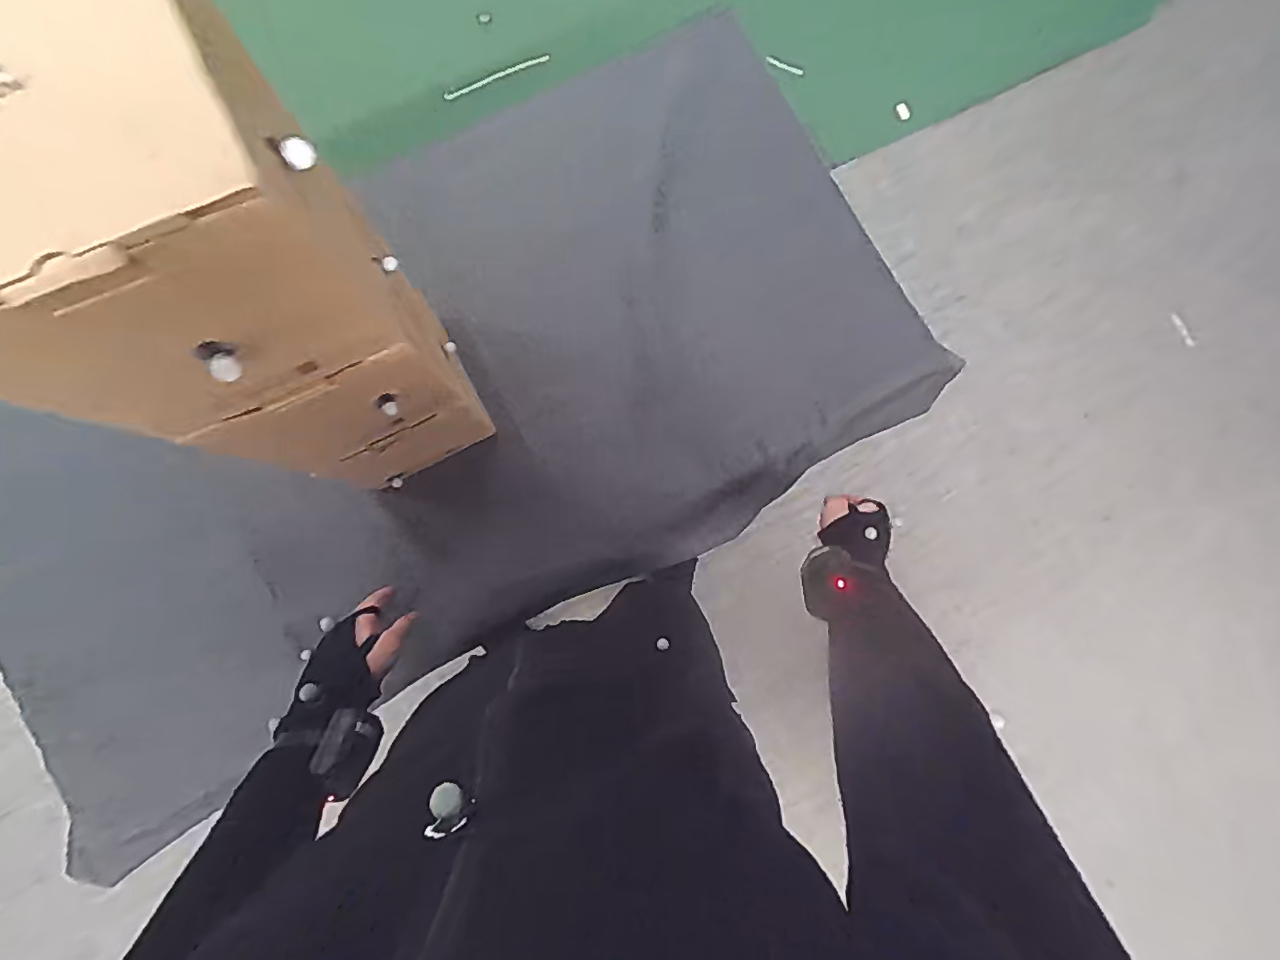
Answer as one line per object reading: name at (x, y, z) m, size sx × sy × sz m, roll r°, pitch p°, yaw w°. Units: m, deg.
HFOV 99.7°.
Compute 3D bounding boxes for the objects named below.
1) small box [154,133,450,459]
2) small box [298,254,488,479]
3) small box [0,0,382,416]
small box at (-0.283, -0.128, 0.448) m, size 0.168 × 0.176 × 0.179 m, roll -27°, pitch 86°, yaw -7°
small box at (-0.293, -0.111, 0.608) m, size 0.168 × 0.176 × 0.179 m, roll -28°, pitch 86°, yaw -6°
small box at (-0.270, -0.146, 0.286) m, size 0.168 × 0.176 × 0.179 m, roll -26°, pitch 88°, yaw -8°
